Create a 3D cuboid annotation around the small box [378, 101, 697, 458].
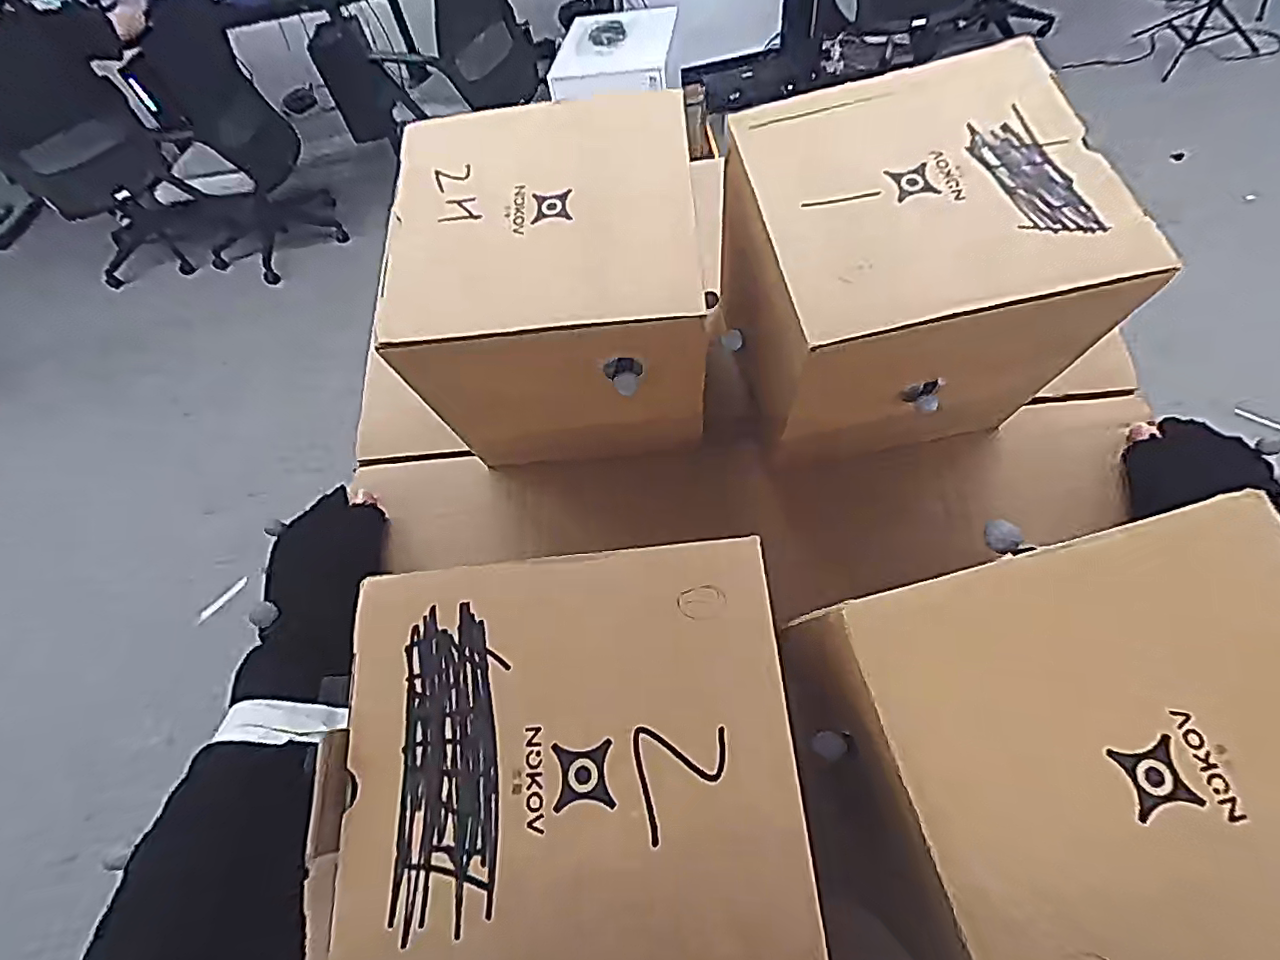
[{"bbox_3d":[-0.052,-0.125,0.390,0.179,0.176,0.168,-4,68,5],"label":"small box"}]
